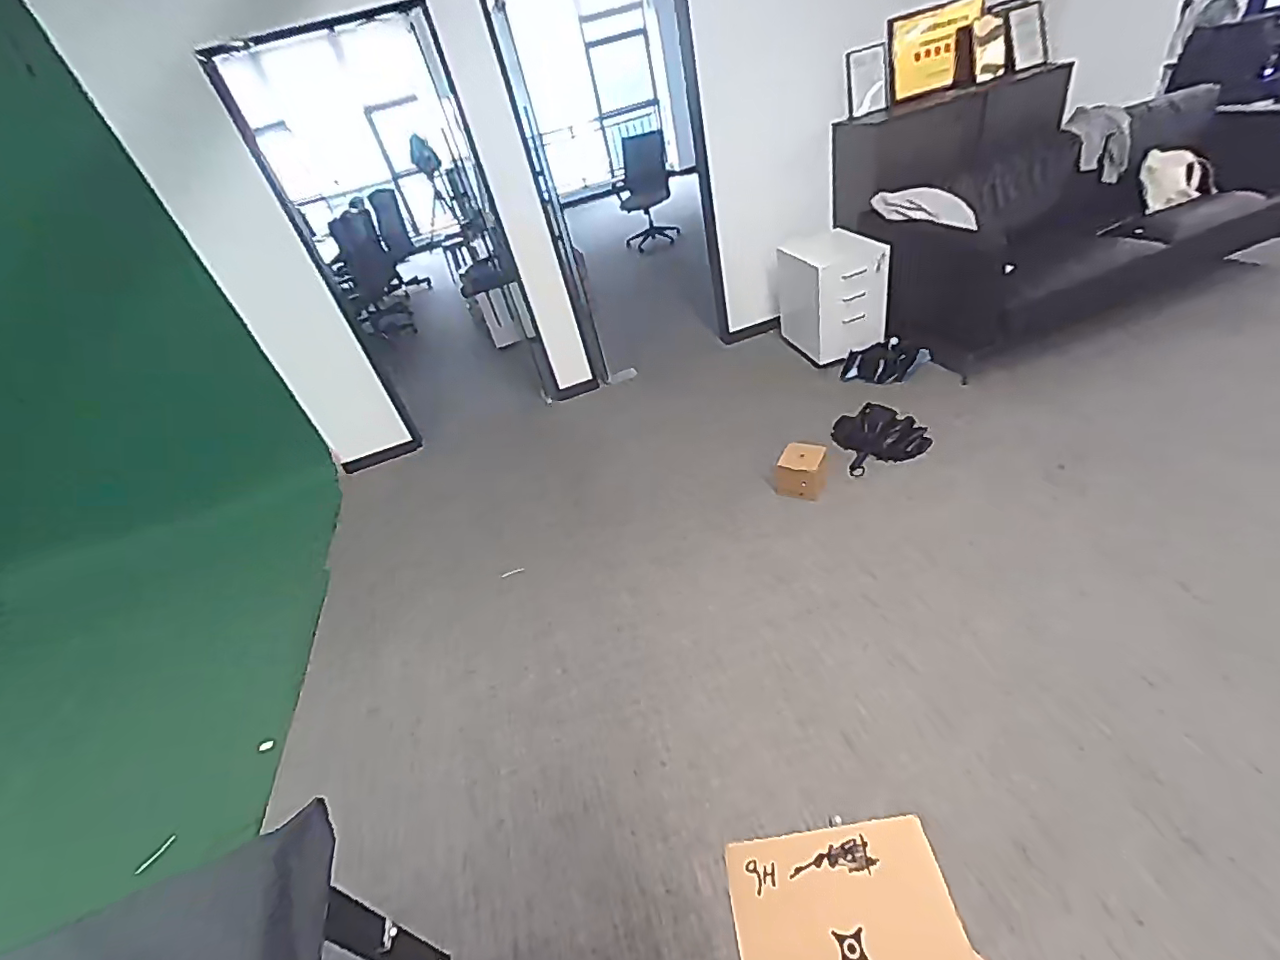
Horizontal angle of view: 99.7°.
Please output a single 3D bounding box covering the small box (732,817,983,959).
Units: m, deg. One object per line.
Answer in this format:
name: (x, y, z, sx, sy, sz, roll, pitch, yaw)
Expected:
small box: (0.181, 0.407, 0.439, 0.168, 0.176, 0.179, -13, 40, 7)
